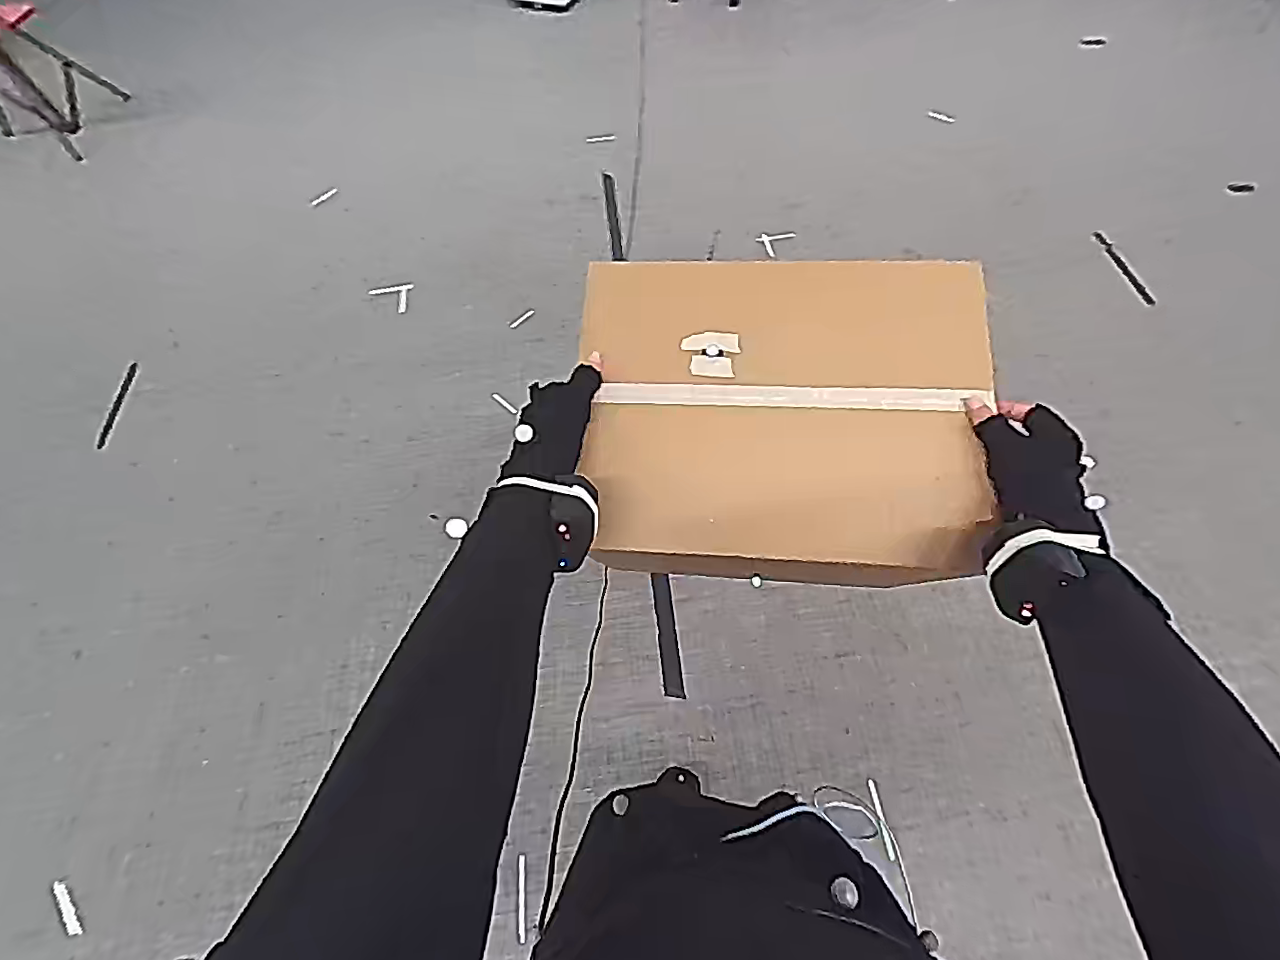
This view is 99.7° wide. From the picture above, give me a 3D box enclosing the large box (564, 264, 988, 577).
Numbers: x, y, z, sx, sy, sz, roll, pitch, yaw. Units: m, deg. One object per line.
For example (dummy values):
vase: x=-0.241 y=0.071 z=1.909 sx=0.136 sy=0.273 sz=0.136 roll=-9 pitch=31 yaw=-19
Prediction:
large box: x=0.147 y=-0.044 z=0.692 sx=0.408 sy=0.320 sz=0.320 roll=2 pitch=75 yaw=8
